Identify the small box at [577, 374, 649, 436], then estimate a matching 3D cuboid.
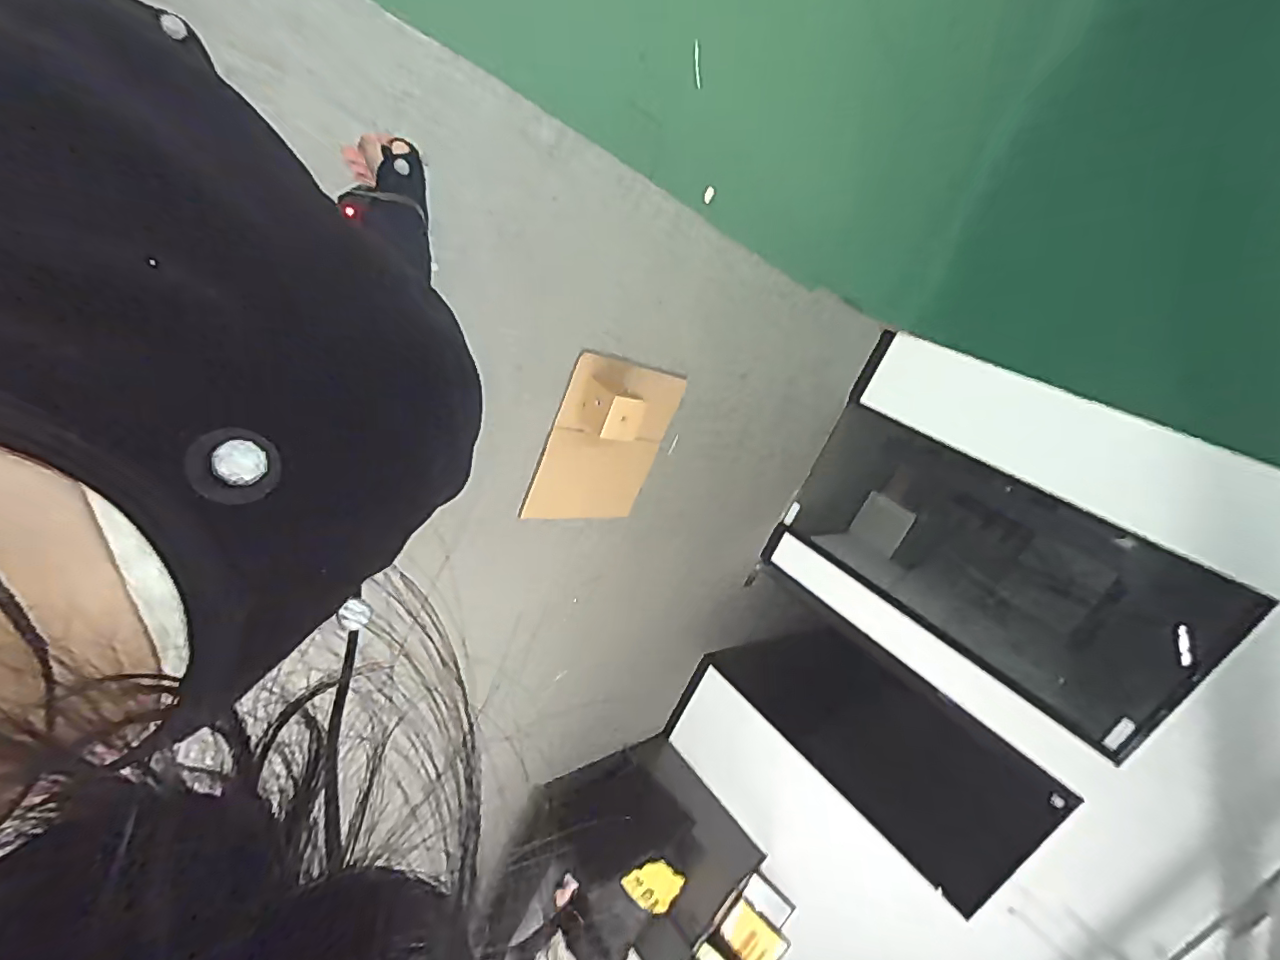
[{"bbox_3d":[-0.104,-0.278,1.998,0.179,0.176,0.168,0,121,-47],"label":"small box"}]
